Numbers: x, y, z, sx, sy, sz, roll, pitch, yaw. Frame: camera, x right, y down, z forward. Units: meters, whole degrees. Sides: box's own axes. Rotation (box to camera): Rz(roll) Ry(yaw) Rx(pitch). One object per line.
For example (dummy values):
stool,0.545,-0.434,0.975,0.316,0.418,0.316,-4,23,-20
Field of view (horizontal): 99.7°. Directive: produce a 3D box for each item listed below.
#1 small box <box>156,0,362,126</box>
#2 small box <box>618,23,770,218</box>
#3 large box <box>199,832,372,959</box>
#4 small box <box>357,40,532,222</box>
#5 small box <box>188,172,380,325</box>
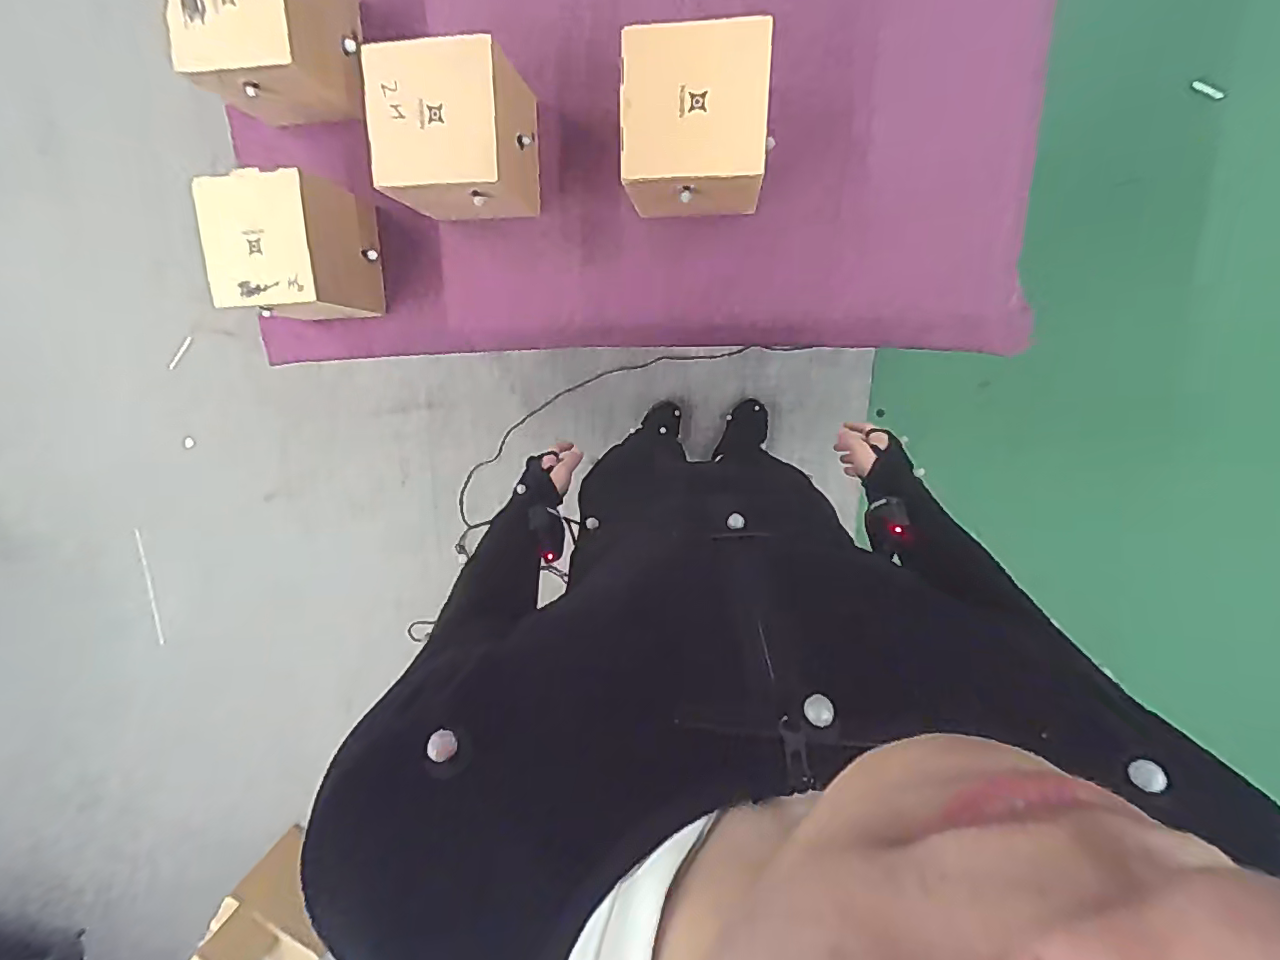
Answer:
small box,-0.524,-0.622,0.759,0.179,0.176,0.168,1,103,7
small box,0.071,-0.453,0.710,0.179,0.176,0.168,2,103,9
large box,-1.331,1.657,2.054,0.408,0.320,0.320,32,106,0
small box,-0.256,-0.468,0.752,0.179,0.176,0.168,2,102,8
small box,-0.523,-0.337,0.818,0.168,0.176,0.179,0,100,9
